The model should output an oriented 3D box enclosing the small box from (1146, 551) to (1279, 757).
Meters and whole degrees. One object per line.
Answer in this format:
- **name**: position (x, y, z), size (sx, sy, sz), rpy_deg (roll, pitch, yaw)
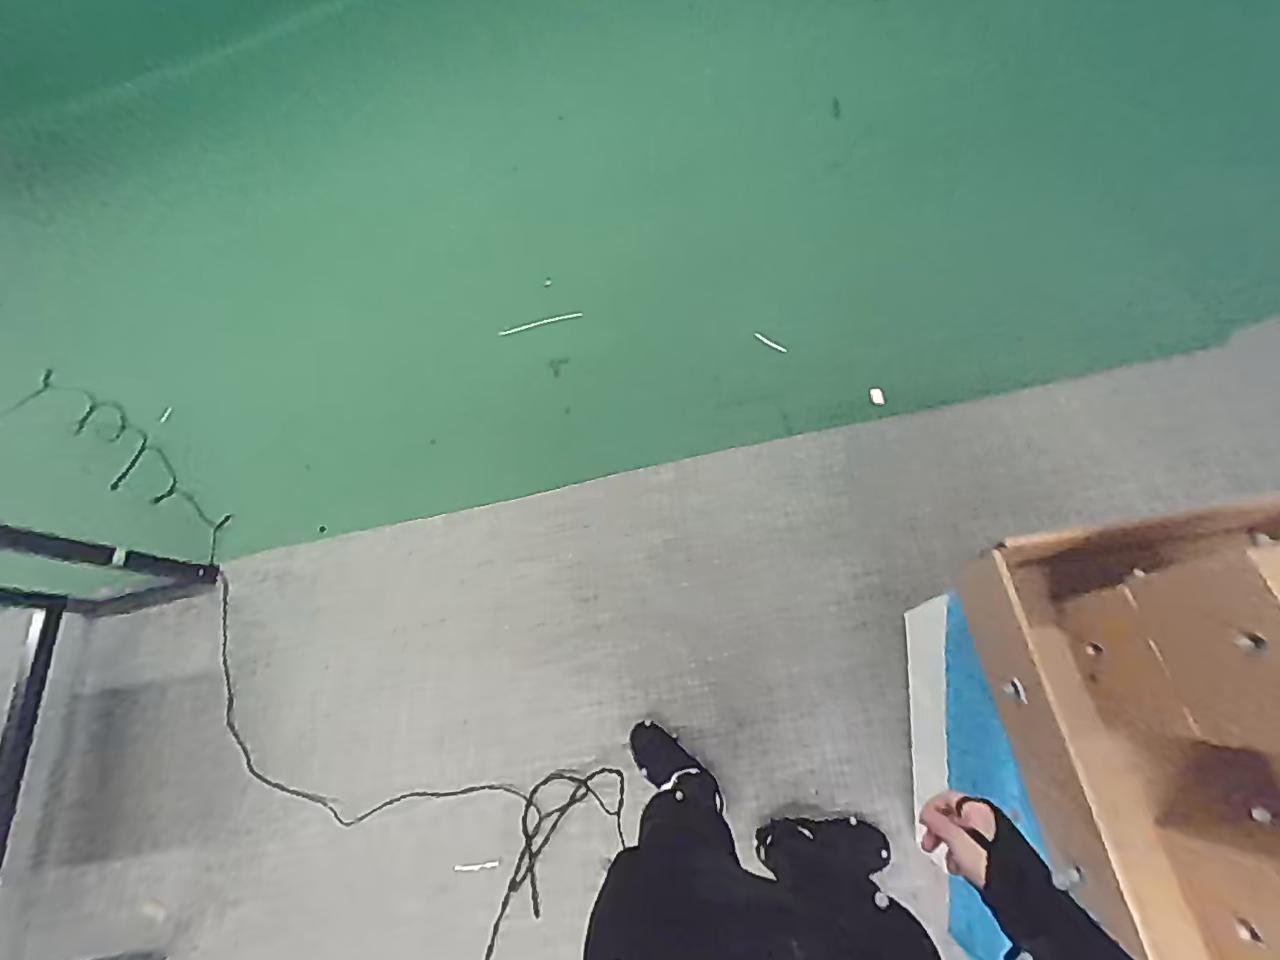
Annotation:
- **small box**: position (0.643, 0.157, 0.504), size (0.168, 0.176, 0.179), rpy_deg (-12, 68, 7)
